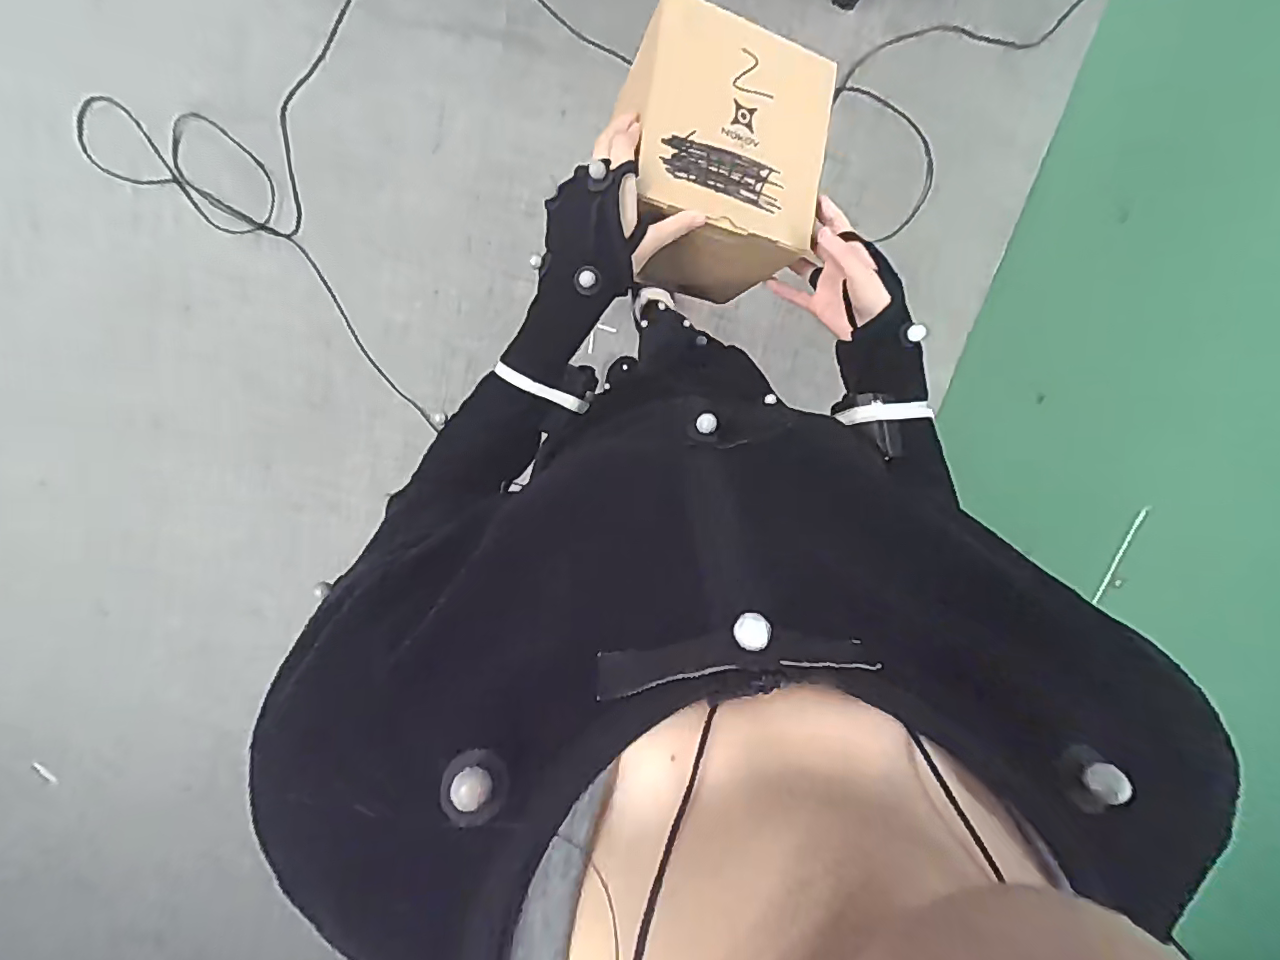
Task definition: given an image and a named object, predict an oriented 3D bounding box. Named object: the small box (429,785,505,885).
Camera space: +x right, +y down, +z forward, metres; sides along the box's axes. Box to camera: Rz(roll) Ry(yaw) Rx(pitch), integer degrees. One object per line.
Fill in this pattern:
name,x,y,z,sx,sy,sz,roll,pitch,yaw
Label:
small box,-0.514,1.064,1.626,0.168,0.176,0.179,15,103,-10
